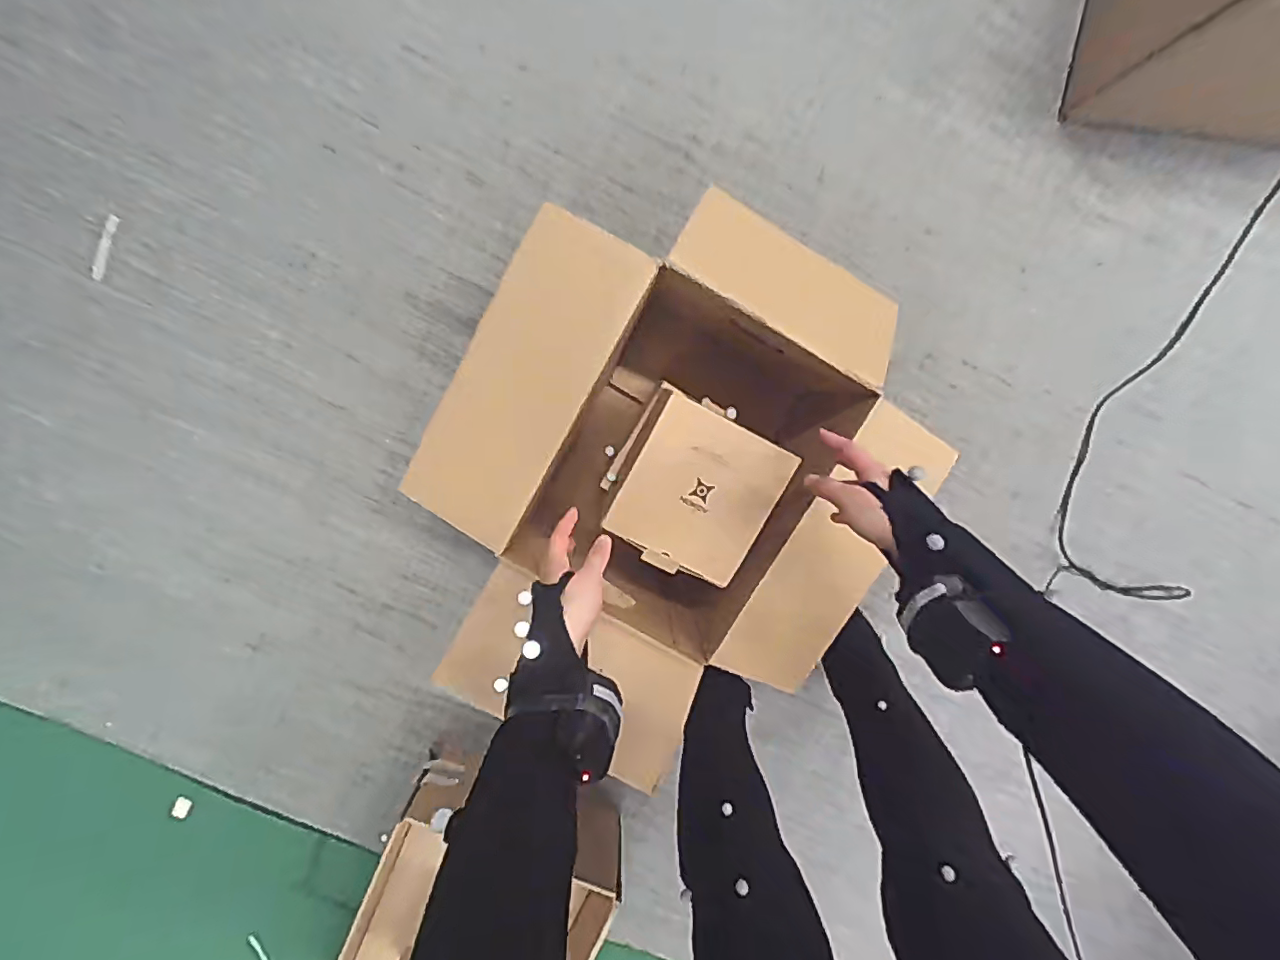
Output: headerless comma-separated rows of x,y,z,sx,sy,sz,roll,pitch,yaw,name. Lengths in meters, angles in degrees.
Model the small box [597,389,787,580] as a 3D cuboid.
0.058,-0.004,0.701,0.168,0.176,0.179,26,98,-7,small box
